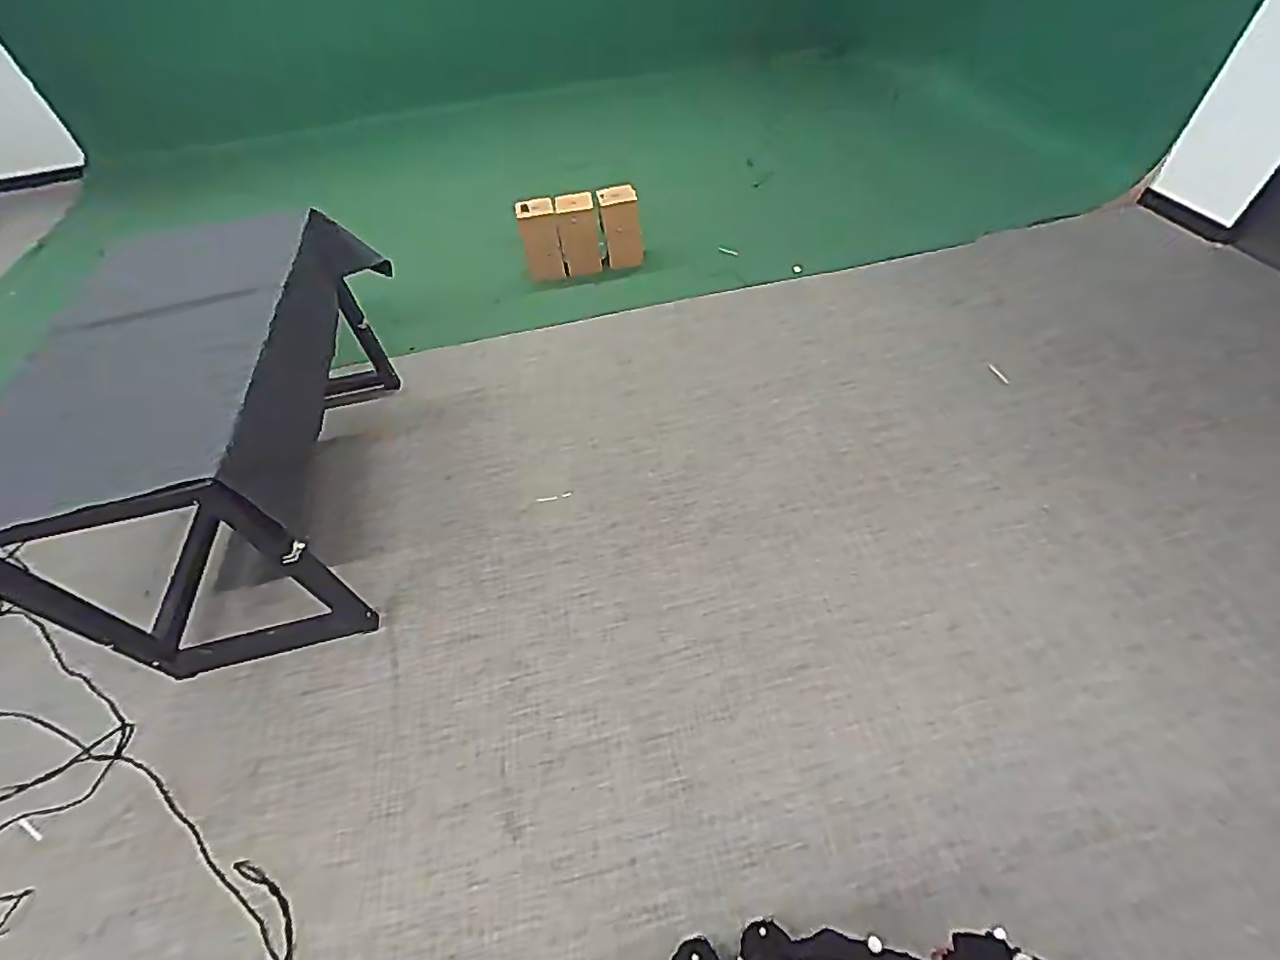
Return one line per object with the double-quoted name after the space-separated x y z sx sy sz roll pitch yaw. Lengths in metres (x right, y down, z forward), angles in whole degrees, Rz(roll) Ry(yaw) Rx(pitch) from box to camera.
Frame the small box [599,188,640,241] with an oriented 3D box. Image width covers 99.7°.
-0.097 -1.286 2.622 0.179 0.176 0.168 -11 51 -5 "small box"
